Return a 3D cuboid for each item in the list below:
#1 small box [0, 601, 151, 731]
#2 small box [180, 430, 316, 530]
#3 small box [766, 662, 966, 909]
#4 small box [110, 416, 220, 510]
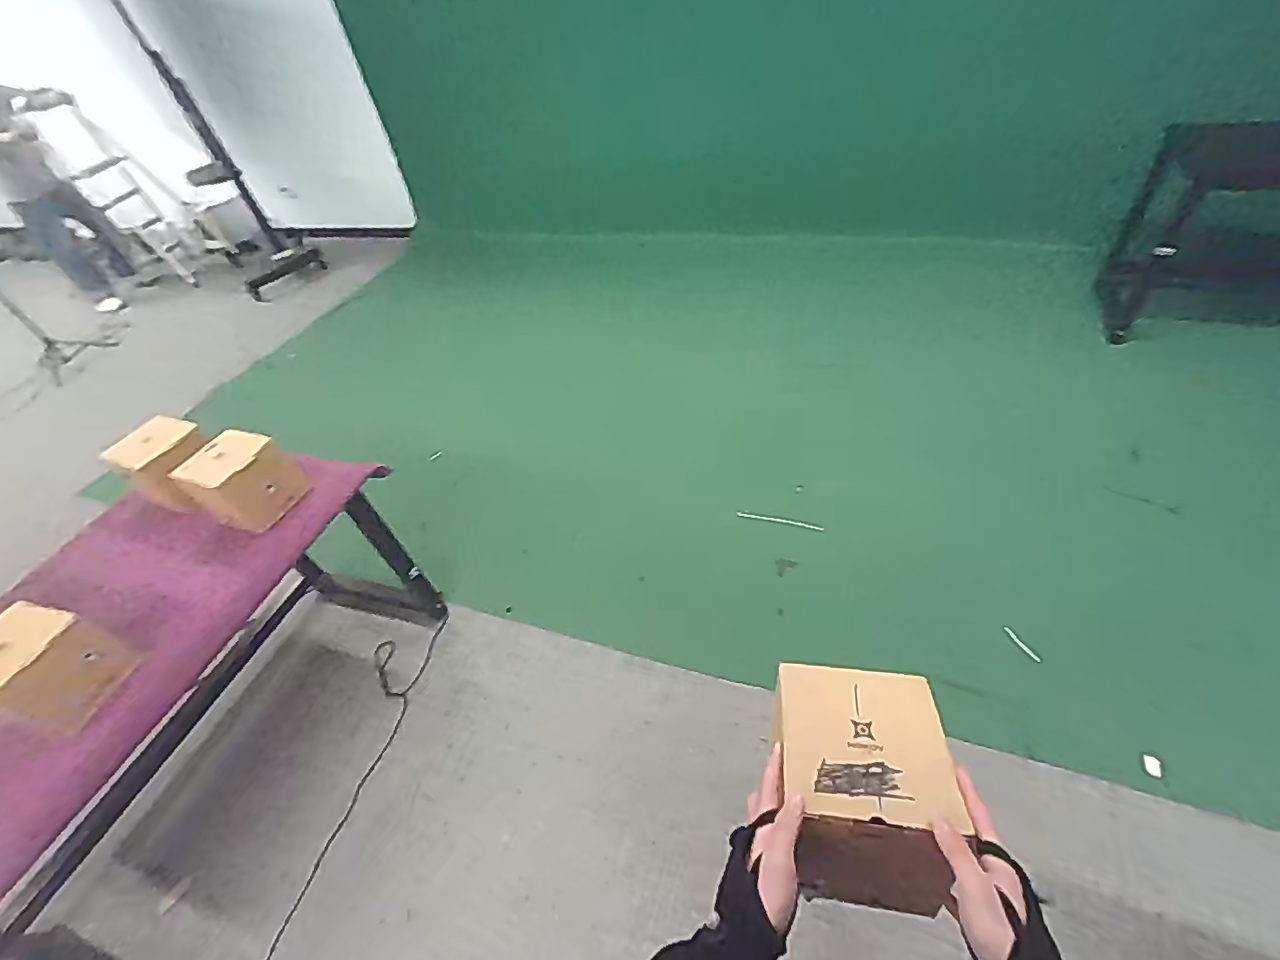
[{"bbox_3d":[-1.106,0.355,1.025,0.179,0.176,0.168,5,47,17],"label":"small box"},{"bbox_3d":[-0.950,0.003,1.328,0.179,0.176,0.168,12,50,22],"label":"small box"},{"bbox_3d":[0.229,0.332,0.597,0.168,0.176,0.179,1,32,11],"label":"small box"},{"bbox_3d":[-1.206,-0.042,1.423,0.179,0.176,0.168,13,51,21],"label":"small box"}]
